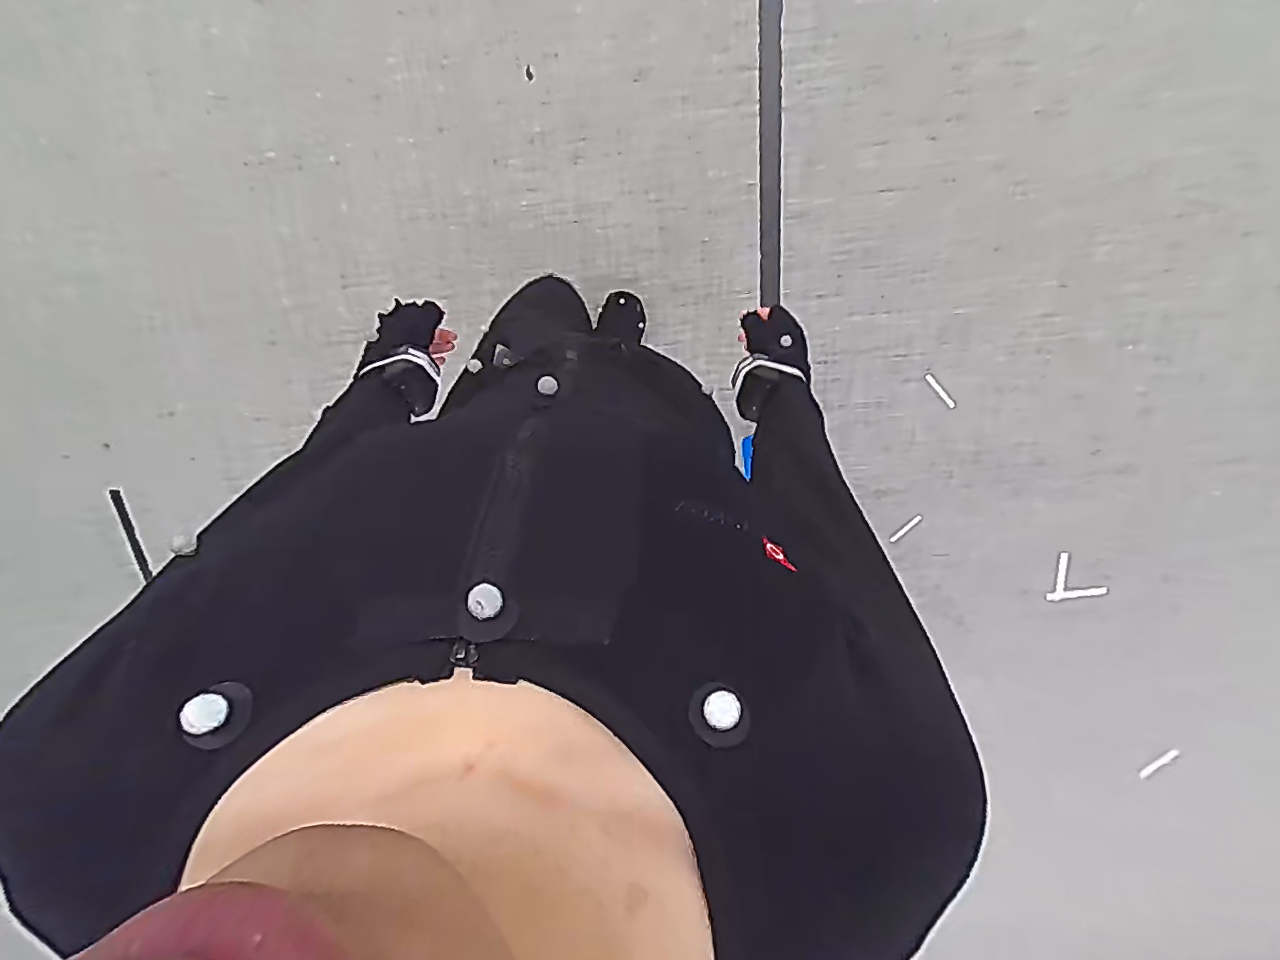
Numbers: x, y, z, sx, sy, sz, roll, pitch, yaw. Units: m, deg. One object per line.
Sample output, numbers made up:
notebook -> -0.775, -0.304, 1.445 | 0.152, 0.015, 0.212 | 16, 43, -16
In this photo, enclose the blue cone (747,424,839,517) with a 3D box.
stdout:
blue cone -> 0.394, 0.005, 1.327 | 0.192, 0.380, 0.193 | -8, 110, 2
